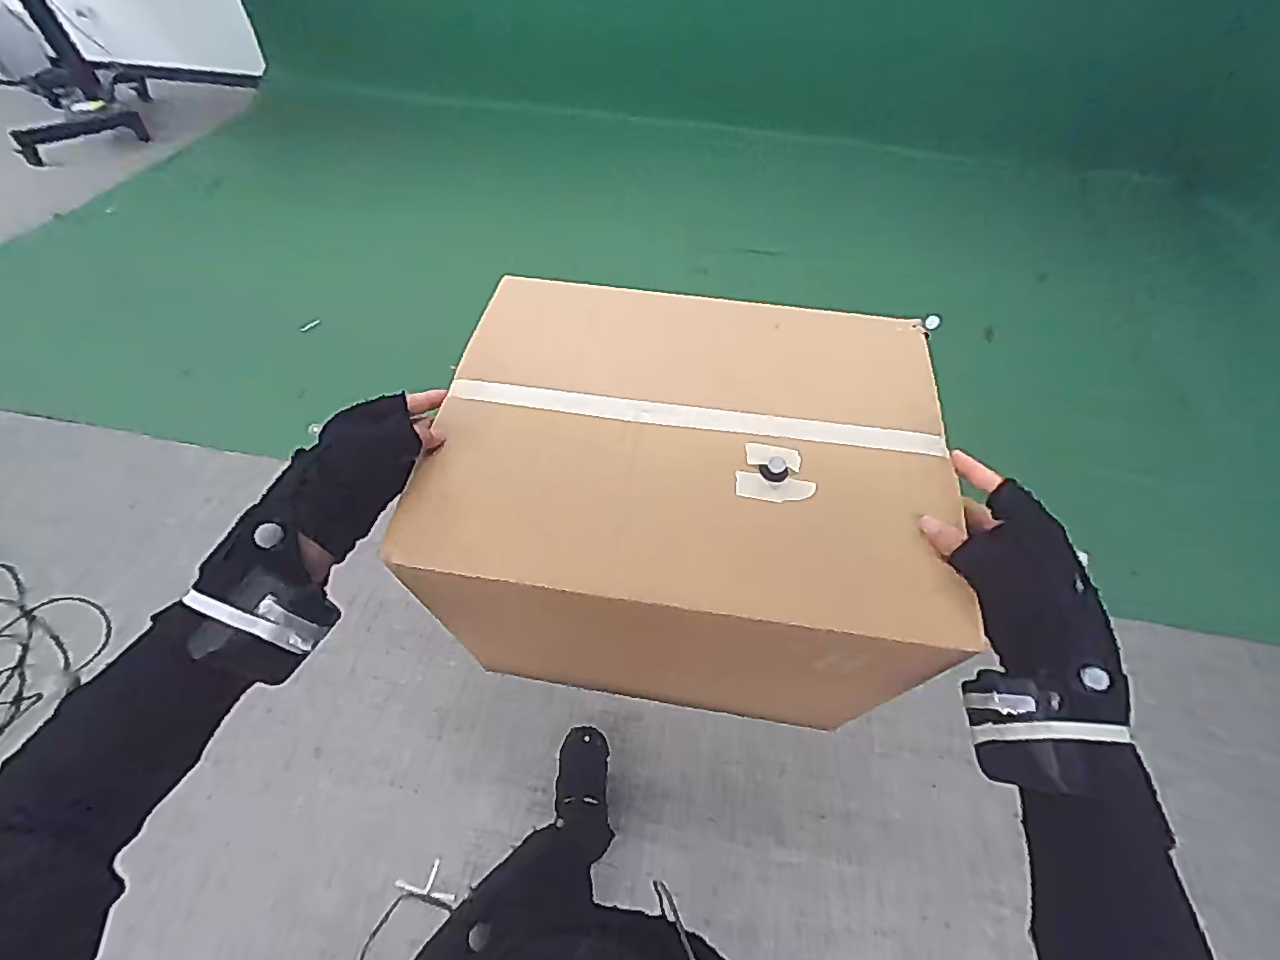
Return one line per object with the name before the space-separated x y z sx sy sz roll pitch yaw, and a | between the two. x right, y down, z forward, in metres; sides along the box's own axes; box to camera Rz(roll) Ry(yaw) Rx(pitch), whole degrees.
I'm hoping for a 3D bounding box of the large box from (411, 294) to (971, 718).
large box | 0.044 0.040 0.581 0.408 0.320 0.320 8 57 3
